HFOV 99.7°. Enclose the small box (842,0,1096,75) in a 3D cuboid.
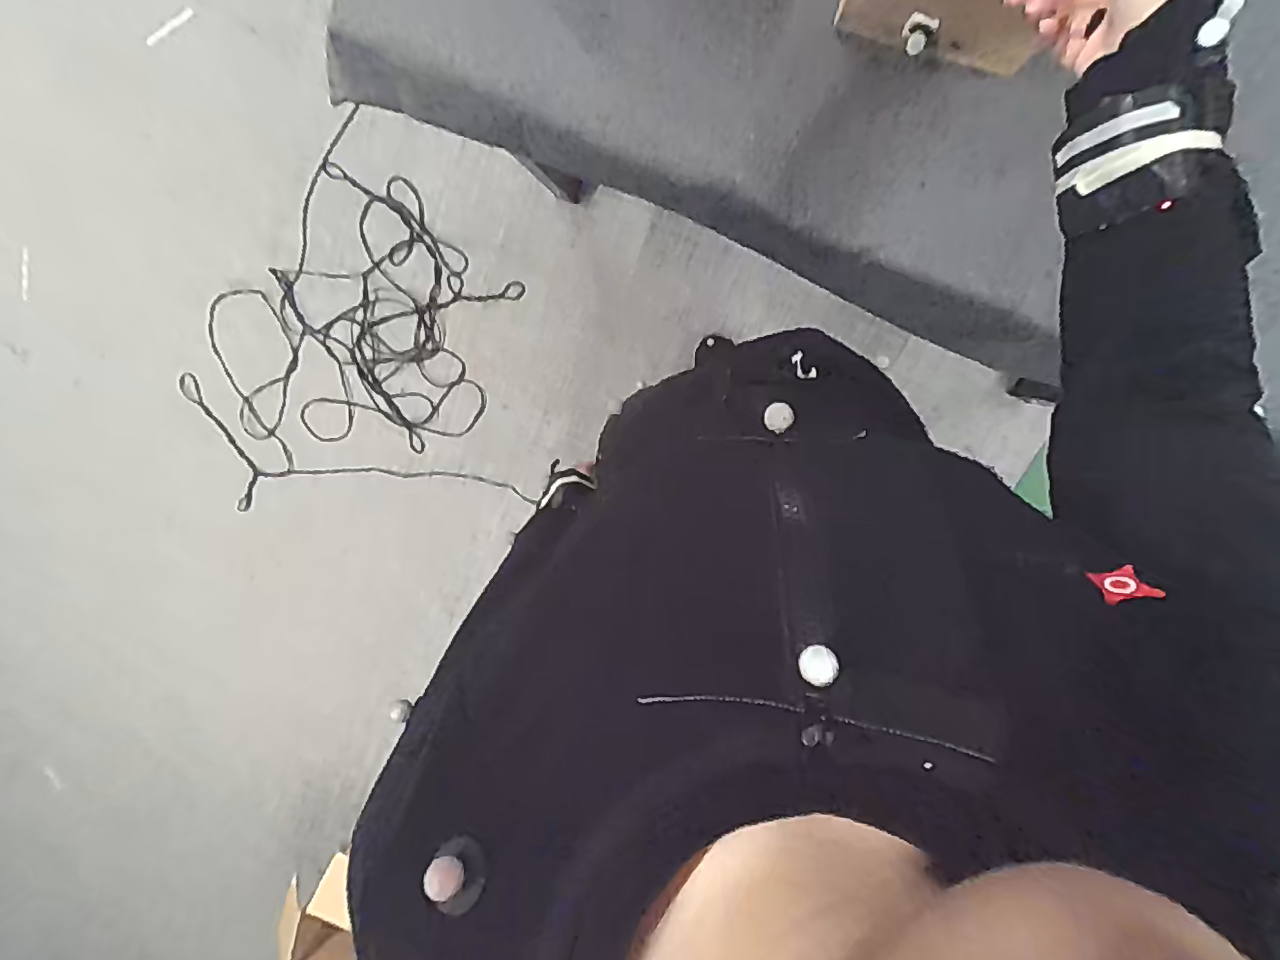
[{"bbox_3d":[0.263,-0.440,0.383,0.168,0.176,0.179,16,106,3],"label":"small box"}]
